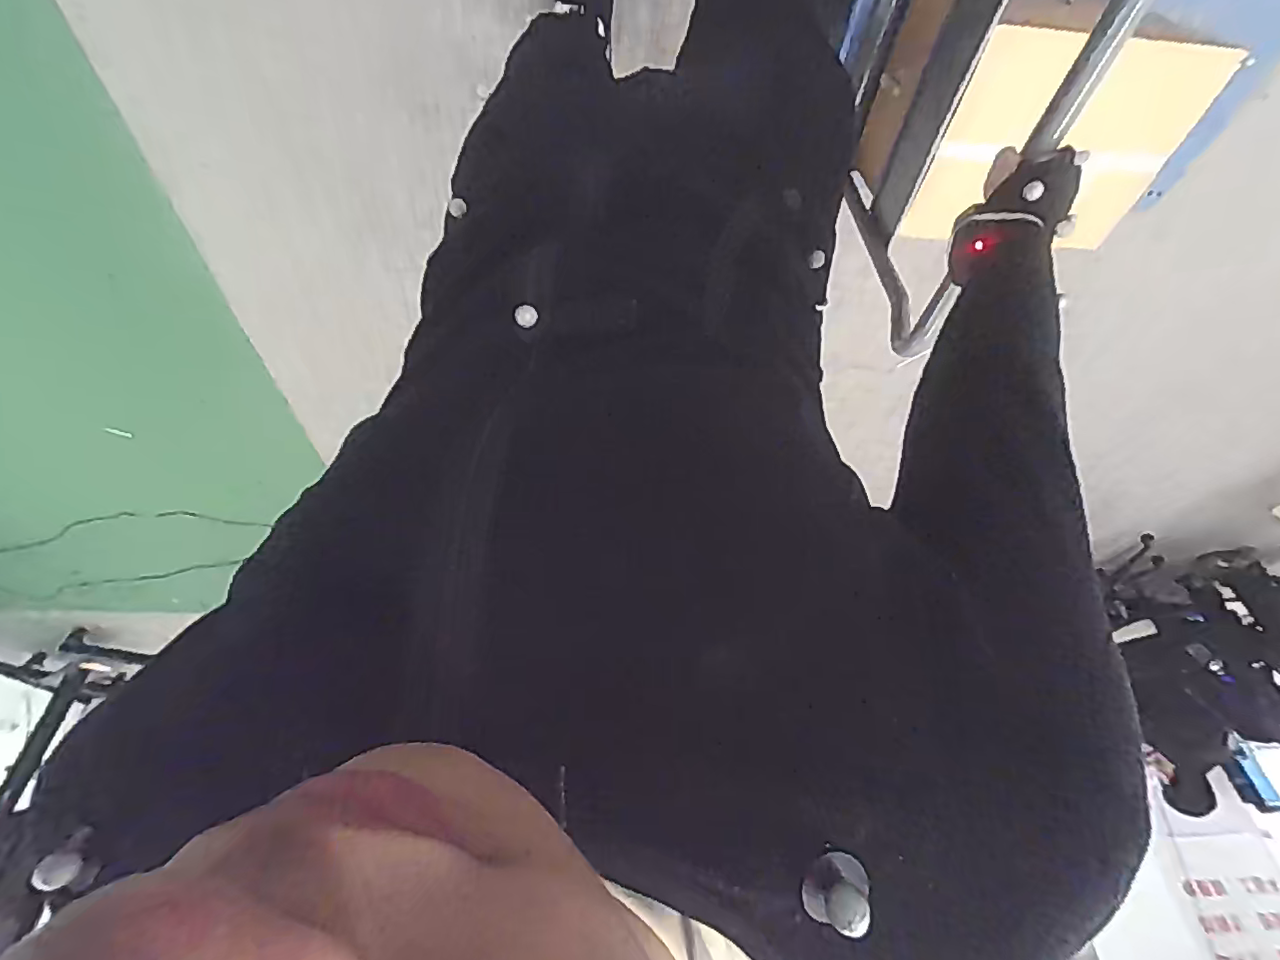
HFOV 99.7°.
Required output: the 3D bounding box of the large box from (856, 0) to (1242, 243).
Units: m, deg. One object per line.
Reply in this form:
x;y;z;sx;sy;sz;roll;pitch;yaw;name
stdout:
0.681;-0.668;0.995;0.408;0.320;0.320;1;143;-5;large box
